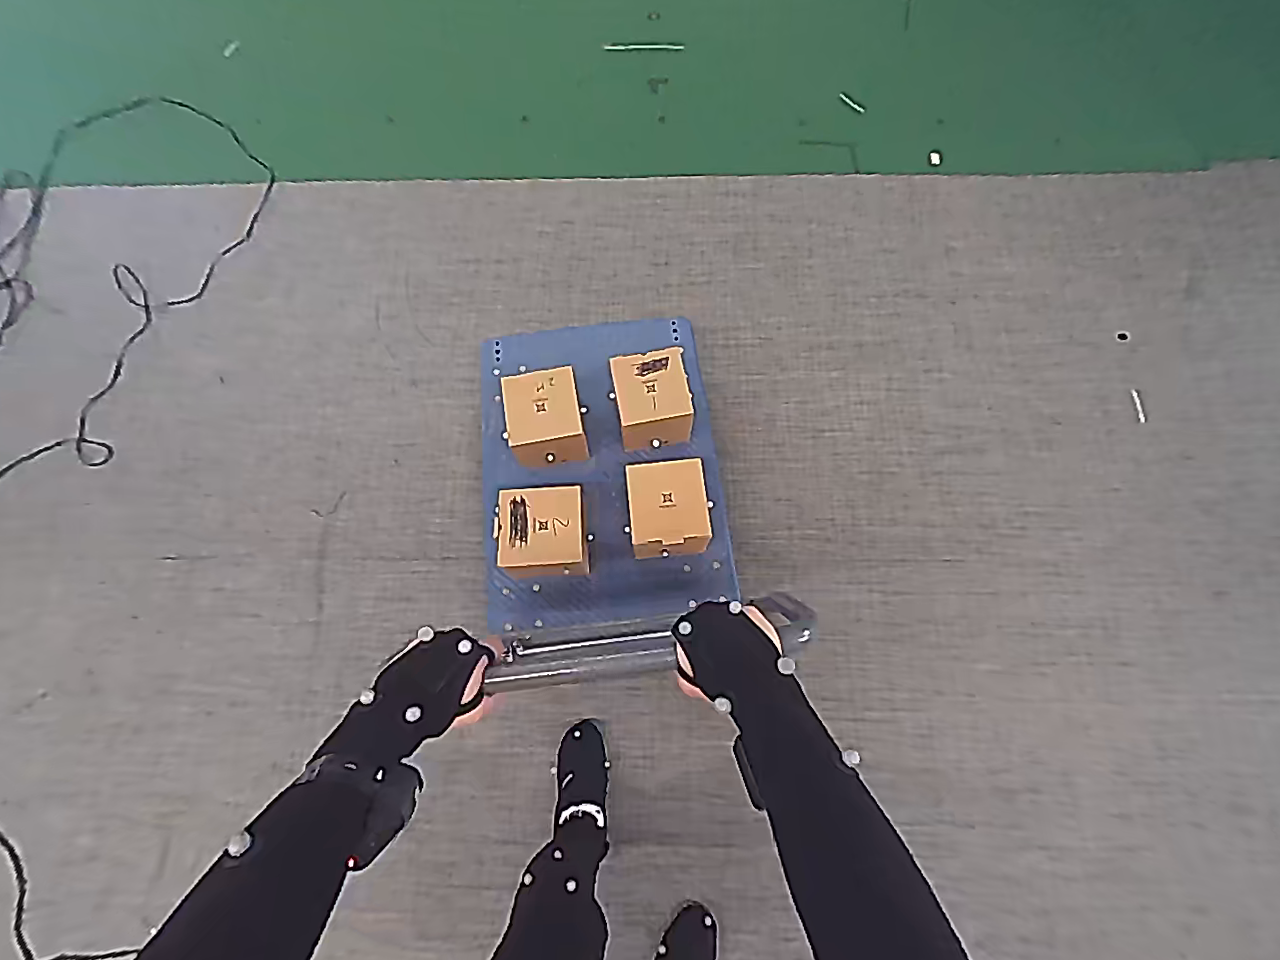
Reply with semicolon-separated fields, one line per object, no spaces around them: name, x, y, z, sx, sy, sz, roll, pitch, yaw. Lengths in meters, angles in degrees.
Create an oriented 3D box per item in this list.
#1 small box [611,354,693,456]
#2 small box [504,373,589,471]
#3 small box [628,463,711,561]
small box;0.026;-0.178;1.319;0.168;0.176;0.179;-10;72;-2
small box;-0.221;-0.130;1.308;0.168;0.176;0.179;-10;71;-3
small box;0.060;0.077;1.233;0.168;0.176;0.179;-6;72;-1
